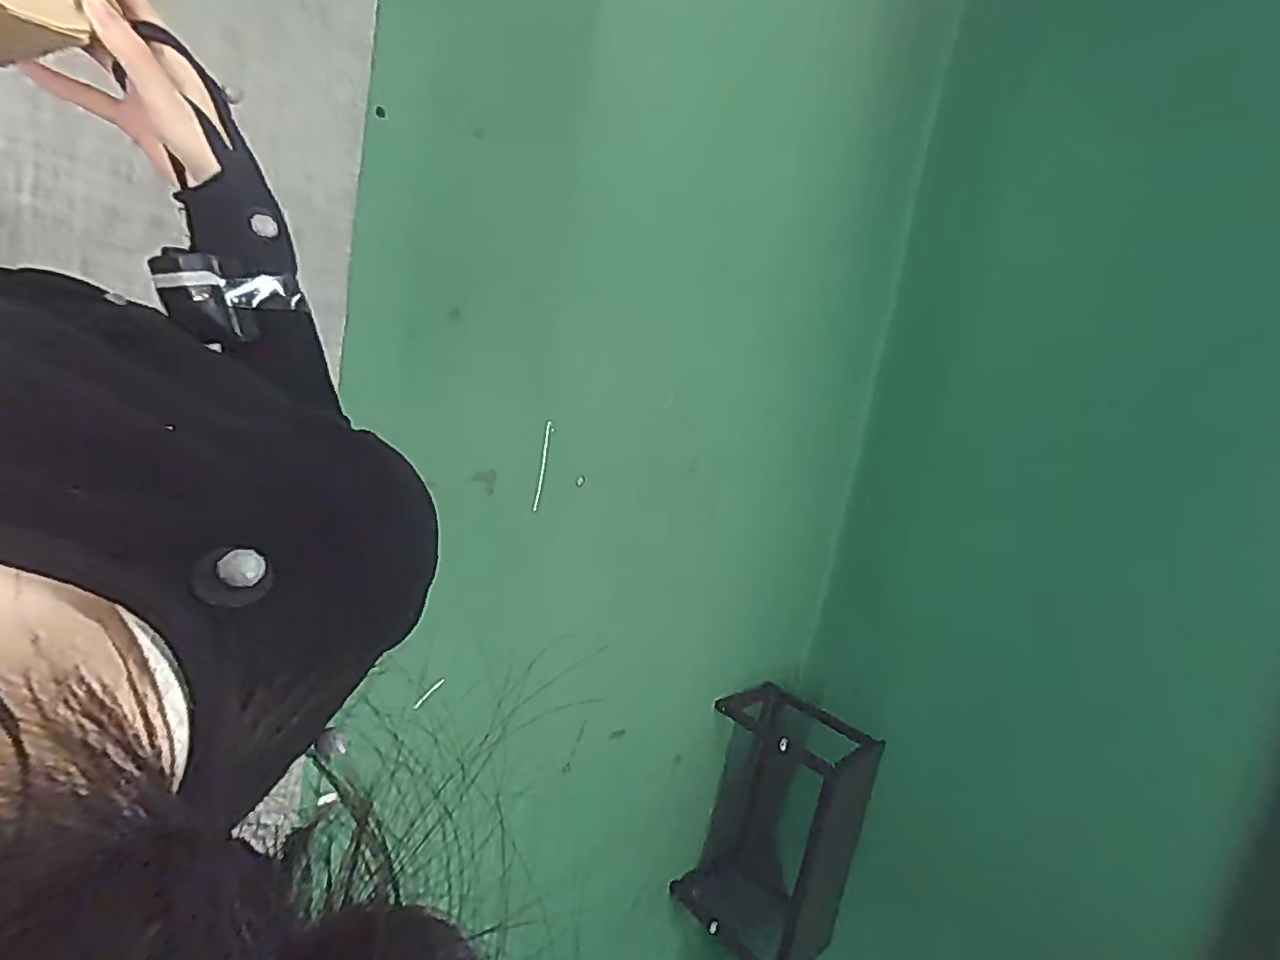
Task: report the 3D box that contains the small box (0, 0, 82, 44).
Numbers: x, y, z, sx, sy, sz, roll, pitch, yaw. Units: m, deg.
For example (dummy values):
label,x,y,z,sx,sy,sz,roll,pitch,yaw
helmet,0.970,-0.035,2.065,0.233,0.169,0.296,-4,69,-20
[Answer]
label,x,y,z,sx,sy,sz,roll,pitch,yaw
small box,-0.390,-0.335,0.234,0.168,0.176,0.179,-15,119,-57
